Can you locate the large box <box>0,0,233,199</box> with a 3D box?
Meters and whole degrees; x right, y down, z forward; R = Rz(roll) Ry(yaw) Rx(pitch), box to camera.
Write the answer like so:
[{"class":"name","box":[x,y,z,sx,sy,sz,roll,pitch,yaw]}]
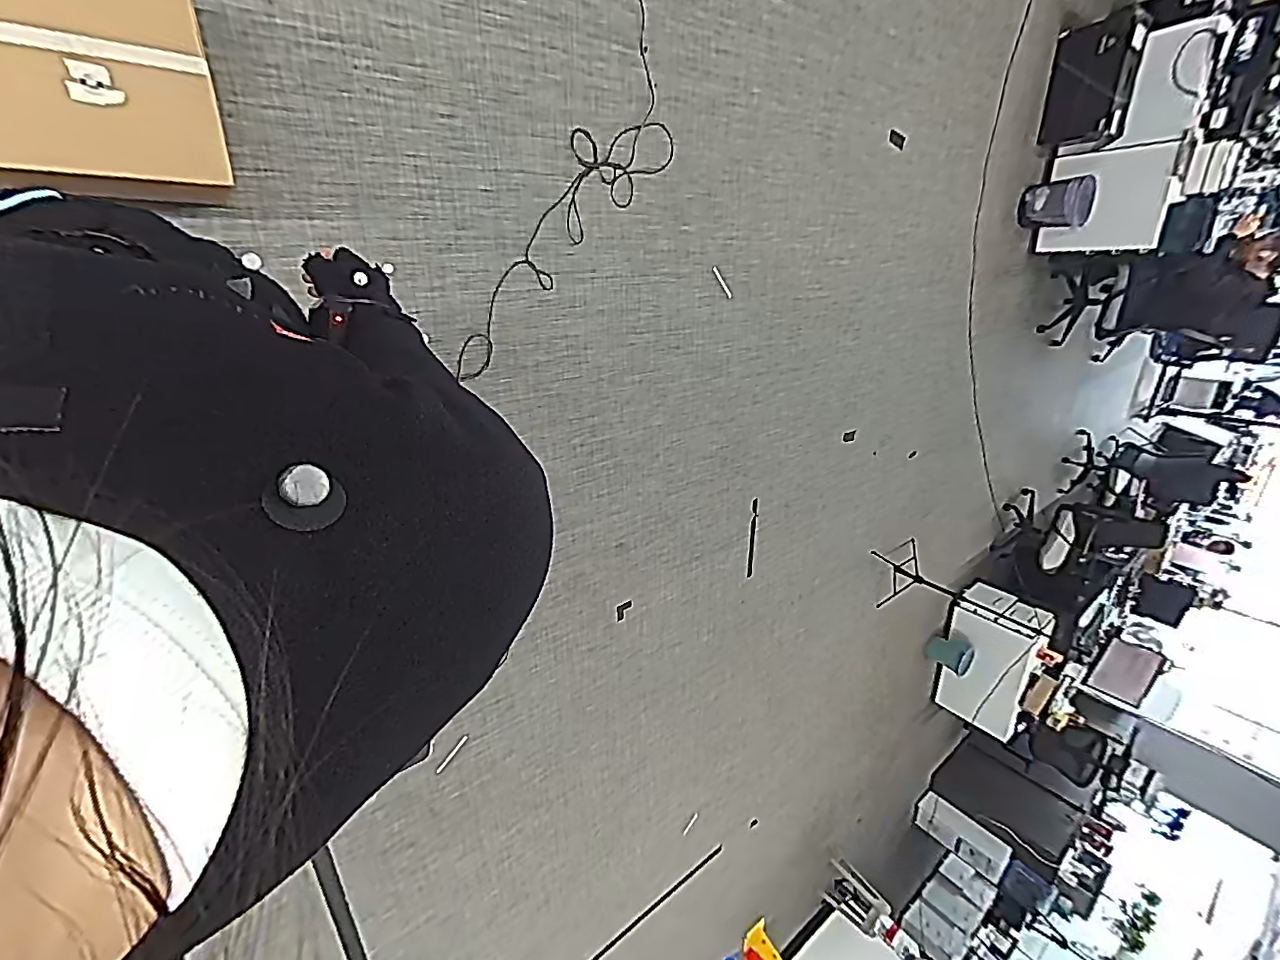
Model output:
[{"class":"large box","box":[-0.896,-0.615,0.802,0.408,0.320,0.320,-16,117,-35]}]
